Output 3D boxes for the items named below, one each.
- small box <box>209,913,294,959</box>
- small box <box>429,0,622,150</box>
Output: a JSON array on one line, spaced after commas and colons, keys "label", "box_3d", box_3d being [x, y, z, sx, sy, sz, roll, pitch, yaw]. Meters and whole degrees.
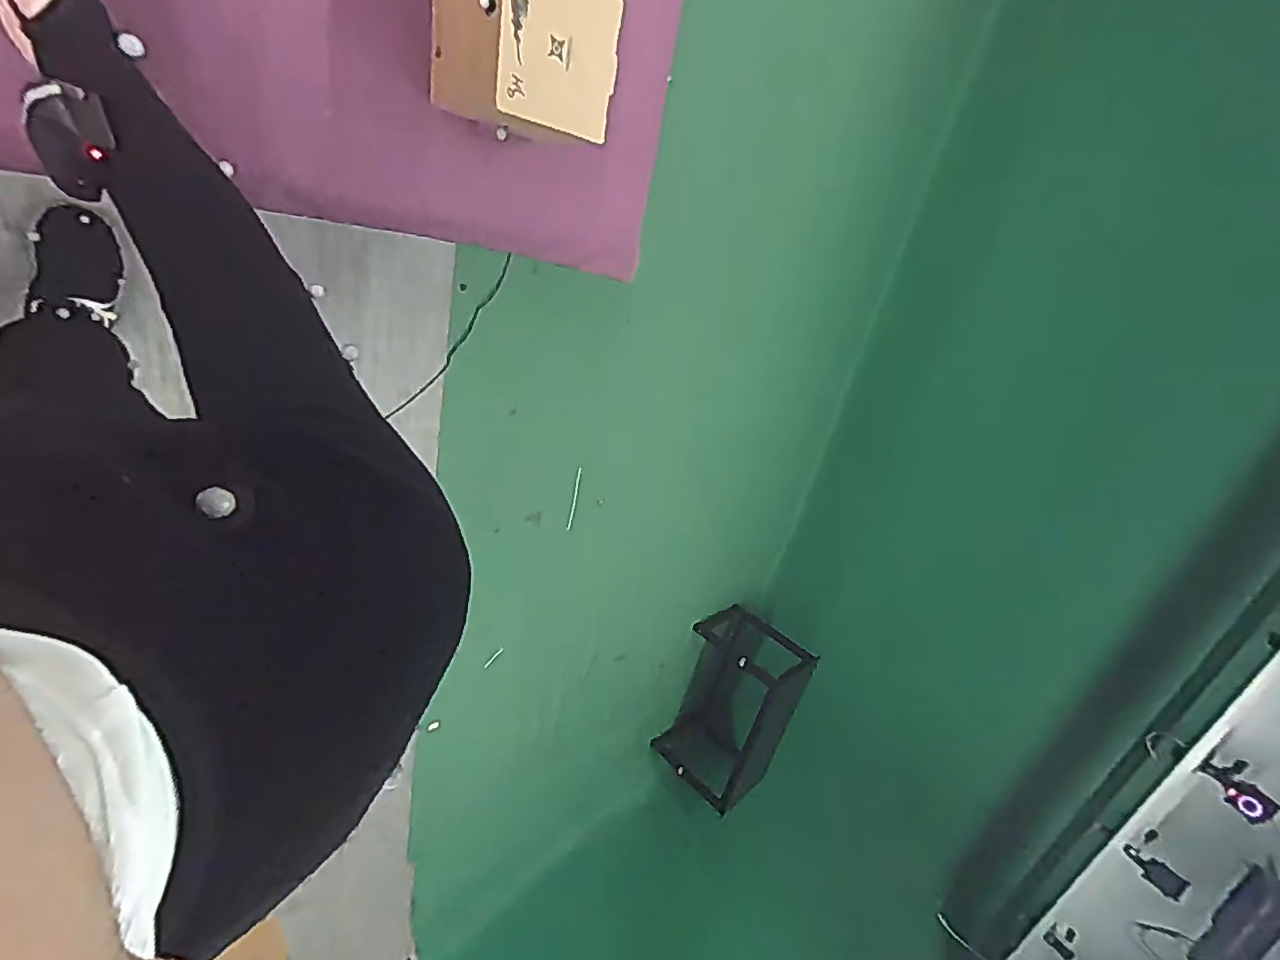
[{"label": "small box", "box_3d": [-1.172, 1.468, 1.624, 0.179, 0.176, 0.168, -3, 116, -48]}, {"label": "small box", "box_3d": [-0.153, -0.556, 0.714, 0.179, 0.176, 0.168, -14, 125, -44]}]
